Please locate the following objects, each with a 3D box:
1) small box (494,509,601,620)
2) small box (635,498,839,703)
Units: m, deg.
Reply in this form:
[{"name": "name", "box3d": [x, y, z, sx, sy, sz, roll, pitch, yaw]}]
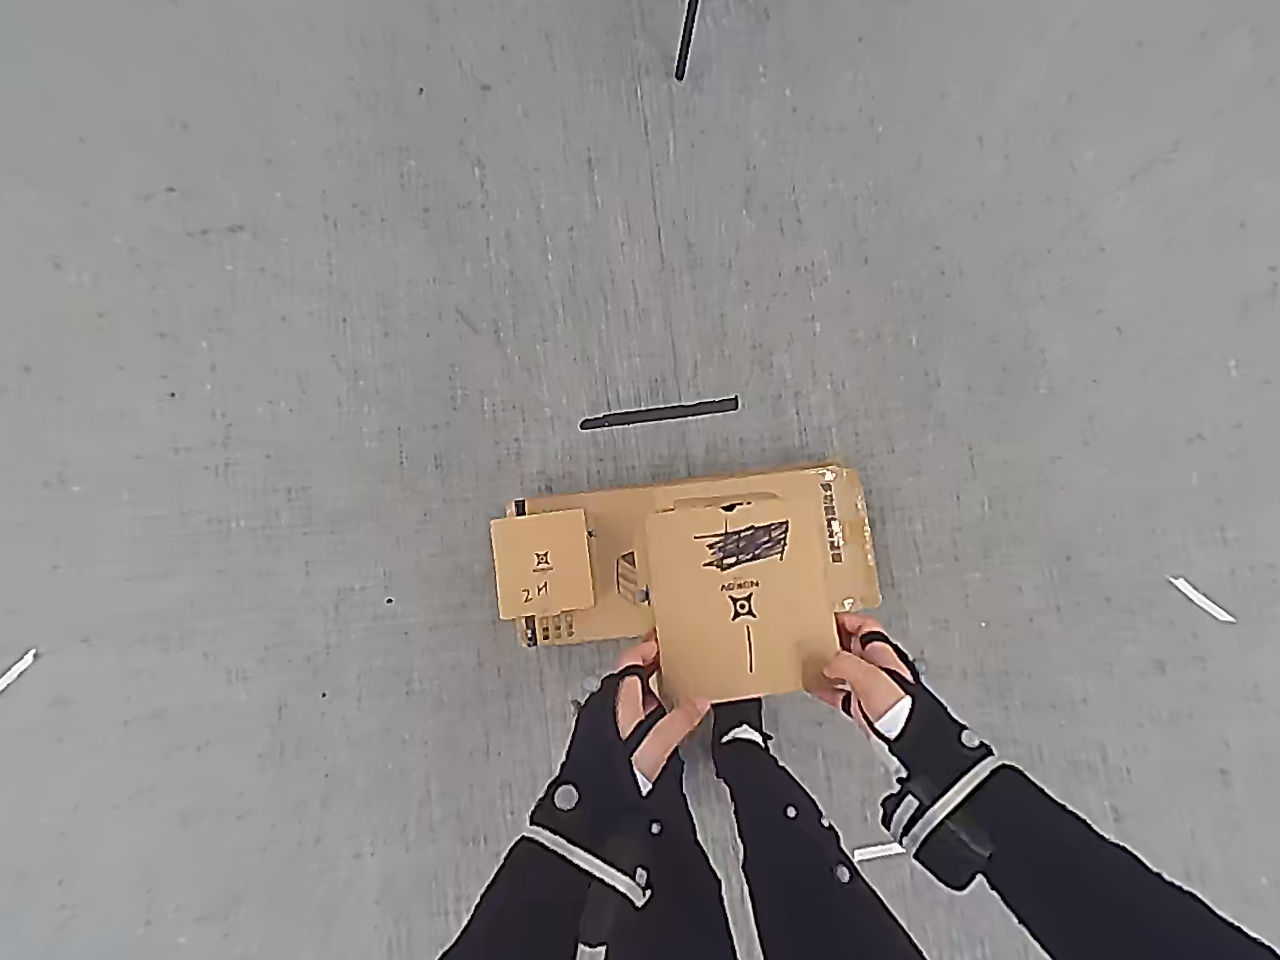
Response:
[{"name": "small box", "box3d": [-0.167, 0.154, 1.012, 0.168, 0.176, 0.179, -7, 84, -1]}, {"name": "small box", "box3d": [0.086, 0.127, 0.581, 0.168, 0.176, 0.179, -6, 77, -5]}]
